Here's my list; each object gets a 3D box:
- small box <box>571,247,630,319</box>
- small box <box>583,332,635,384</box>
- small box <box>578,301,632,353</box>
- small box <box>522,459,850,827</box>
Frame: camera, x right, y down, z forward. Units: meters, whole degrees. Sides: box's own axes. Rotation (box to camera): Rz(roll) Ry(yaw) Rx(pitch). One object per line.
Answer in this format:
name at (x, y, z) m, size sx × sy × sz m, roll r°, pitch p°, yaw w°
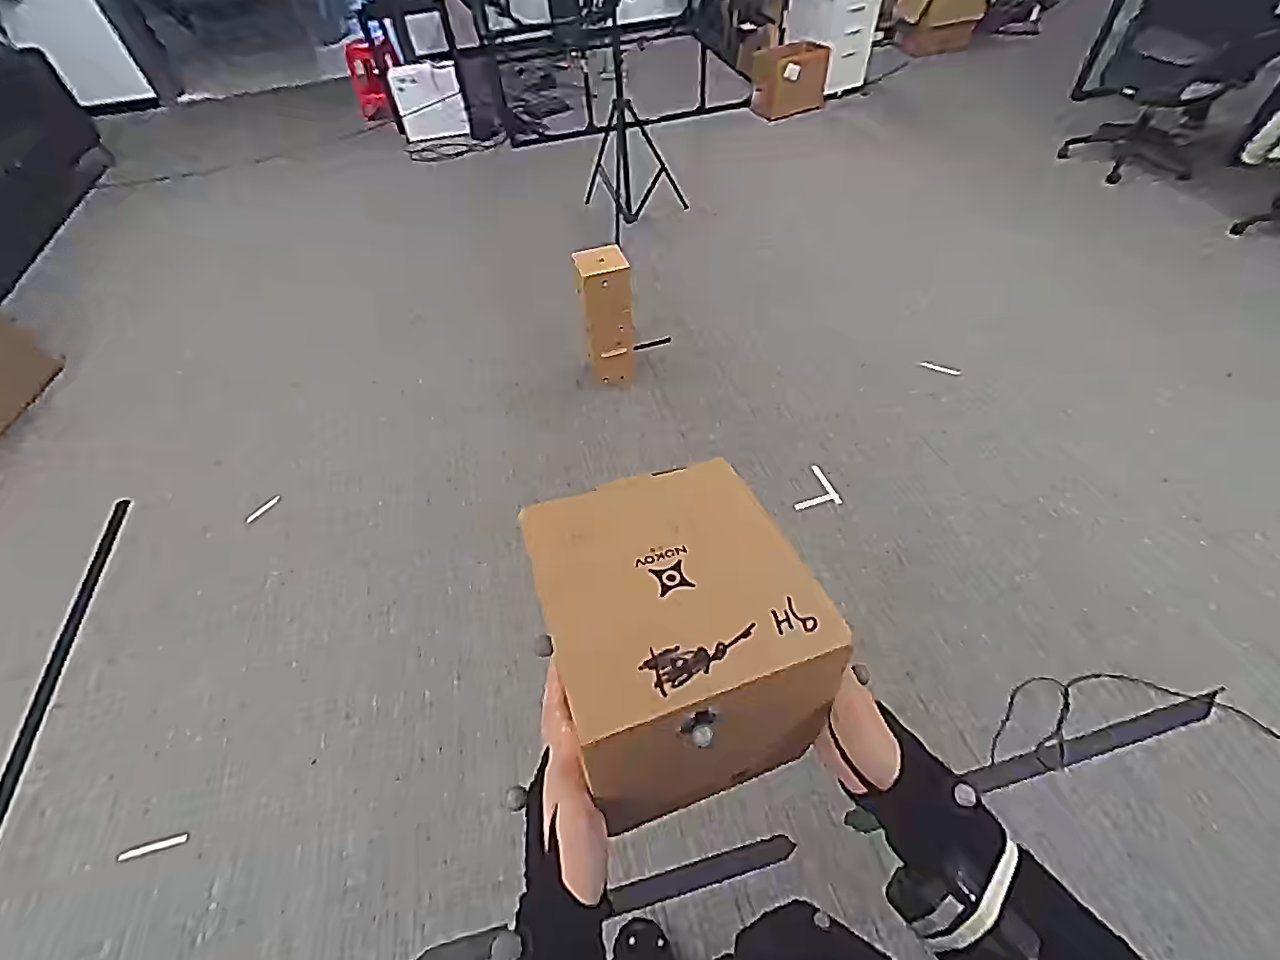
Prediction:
small box at (-0.139, -0.715, 1.968) m, size 0.179 × 0.176 × 0.168 m, roll -17°, pitch 53°, yaw -9°
small box at (-0.124, -0.512, 2.220) m, size 0.168 × 0.176 × 0.179 m, roll -16°, pitch 52°, yaw -8°
small box at (-0.133, -0.612, 2.094) m, size 0.168 × 0.176 × 0.179 m, roll -16°, pitch 51°, yaw -9°
small box at (0.019, 0.115, 0.402) m, size 0.168 × 0.176 × 0.179 m, roll -15°, pitch 44°, yaw -12°
